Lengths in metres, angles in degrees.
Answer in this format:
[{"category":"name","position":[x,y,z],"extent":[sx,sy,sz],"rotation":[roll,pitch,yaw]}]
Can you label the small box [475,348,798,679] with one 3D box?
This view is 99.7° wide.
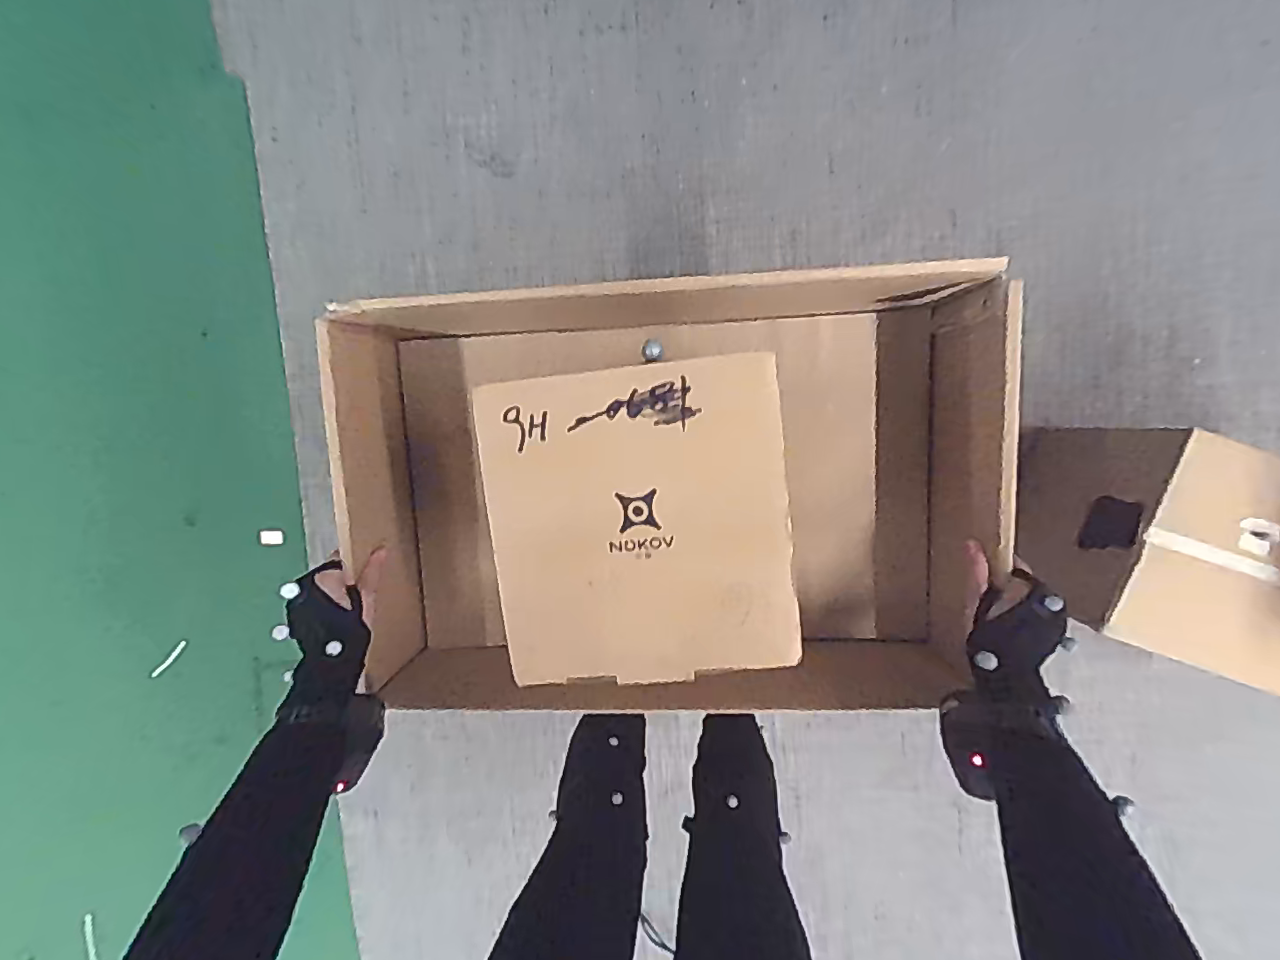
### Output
[{"category":"small box","position":[0.005,0.012,0.375],"extent":[0.168,0.176,0.179],"rotation":[-6,97,4]}]
